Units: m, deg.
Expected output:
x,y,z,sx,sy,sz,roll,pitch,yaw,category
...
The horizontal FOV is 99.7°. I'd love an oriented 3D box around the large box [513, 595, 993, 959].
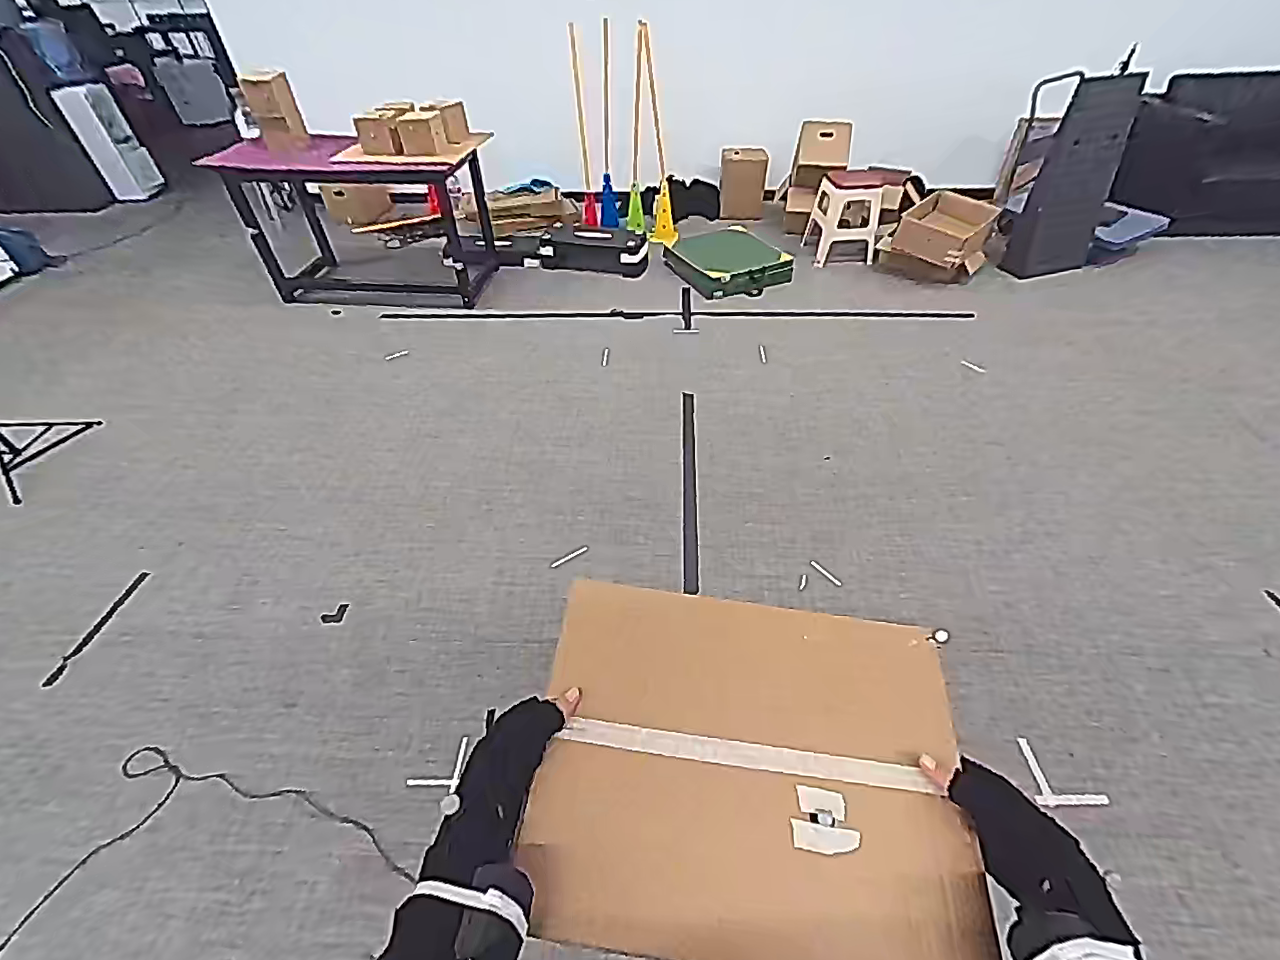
x,y,z,sx,sy,sz,roll,pitch,yaw,category
0.099,0.363,0.642,0.408,0.320,0.320,7,54,2,large box
